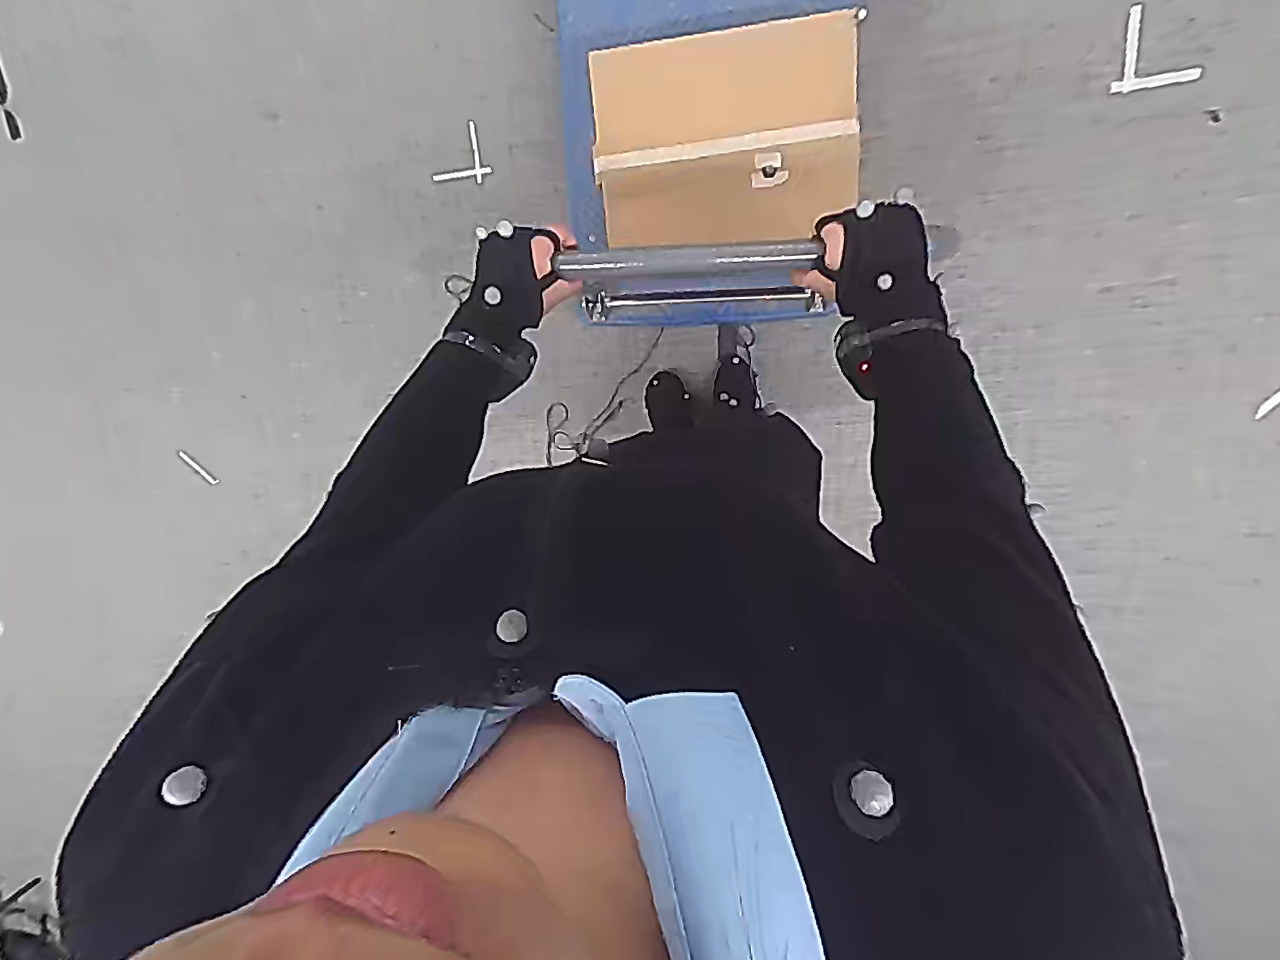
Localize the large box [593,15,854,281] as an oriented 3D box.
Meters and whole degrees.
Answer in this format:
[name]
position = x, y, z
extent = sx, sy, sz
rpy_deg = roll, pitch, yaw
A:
[large box]
position = 0.148, -0.570, 1.010
extent = 0.408, 0.320, 0.320
rpy_deg = -4, 105, 6
